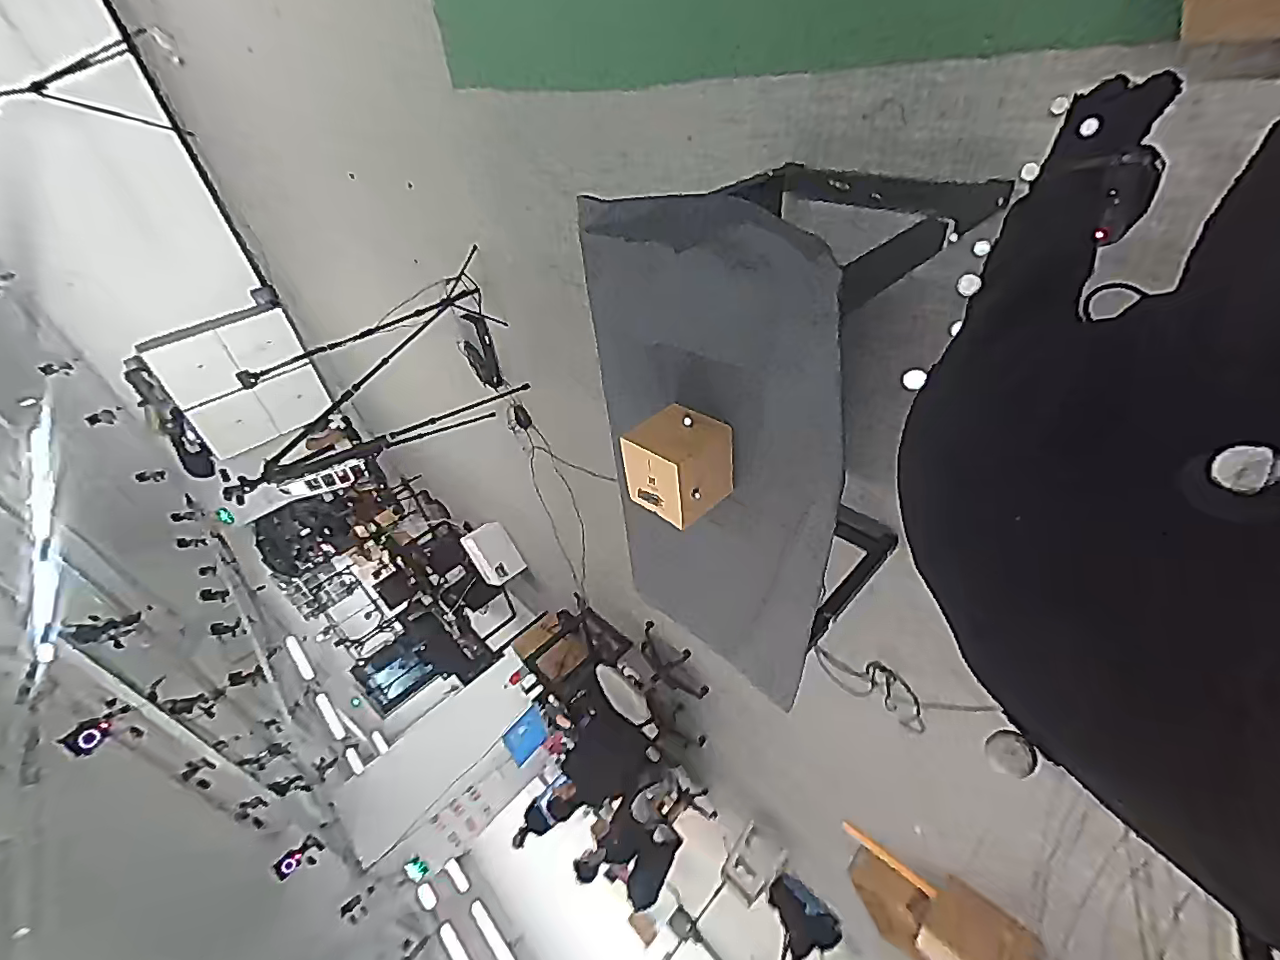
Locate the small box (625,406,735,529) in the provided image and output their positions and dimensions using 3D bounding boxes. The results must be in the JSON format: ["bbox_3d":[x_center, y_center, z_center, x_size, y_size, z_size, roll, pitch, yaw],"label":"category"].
[{"bbox_3d":[0.092,-0.032,1.168,0.168,0.176,0.179,29,141,38],"label":"small box"}]
